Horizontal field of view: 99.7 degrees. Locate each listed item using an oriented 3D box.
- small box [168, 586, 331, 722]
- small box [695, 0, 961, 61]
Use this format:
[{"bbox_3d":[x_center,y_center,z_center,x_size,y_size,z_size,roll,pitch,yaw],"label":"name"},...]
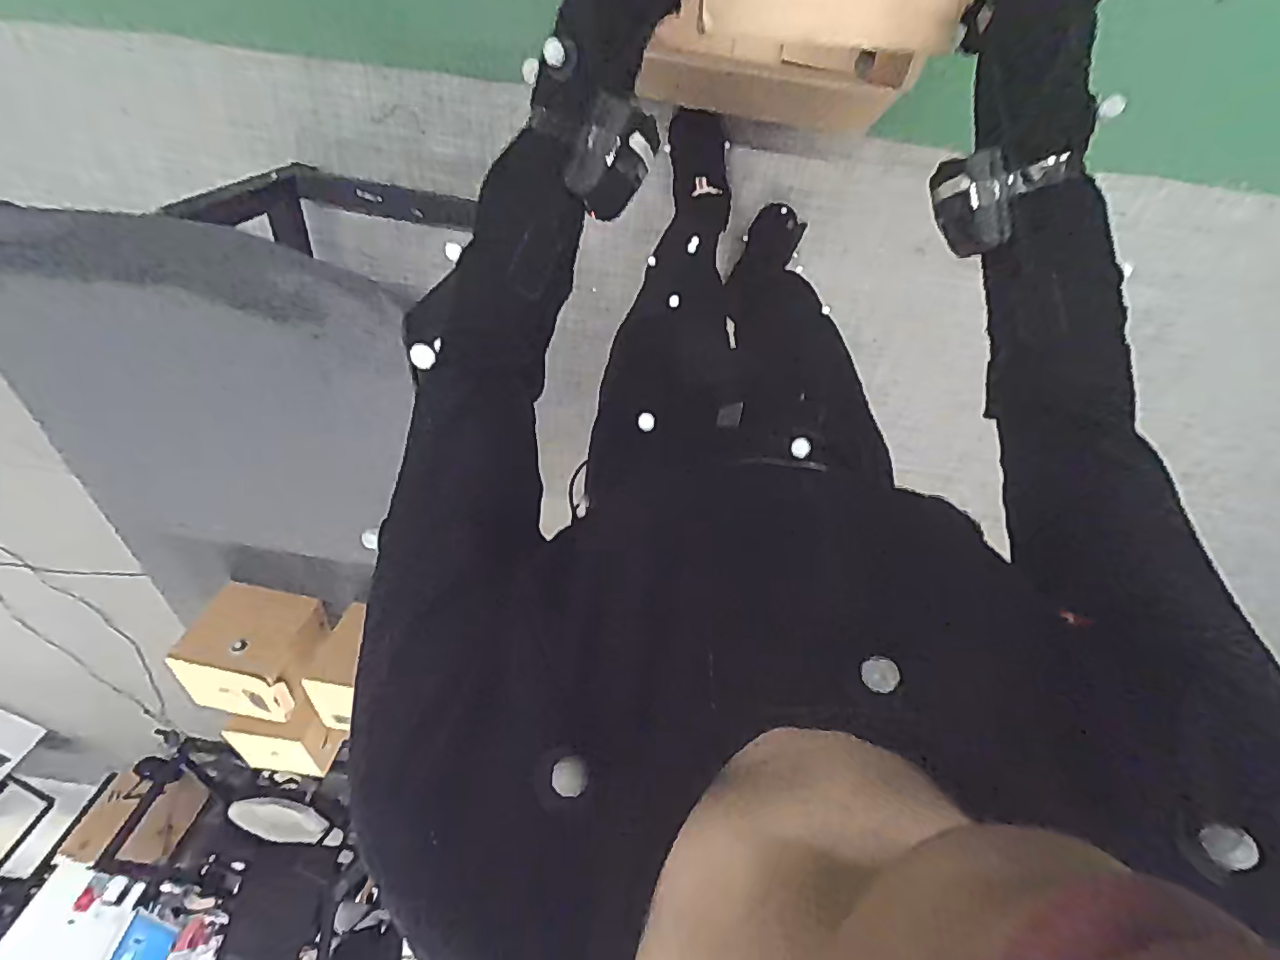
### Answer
[{"bbox_3d":[-0.710,0.323,1.016,0.179,0.176,0.168,13,130,-2],"label":"small box"},{"bbox_3d":[0.137,-0.417,0.386,0.179,0.176,0.168,6,131,1],"label":"small box"}]
